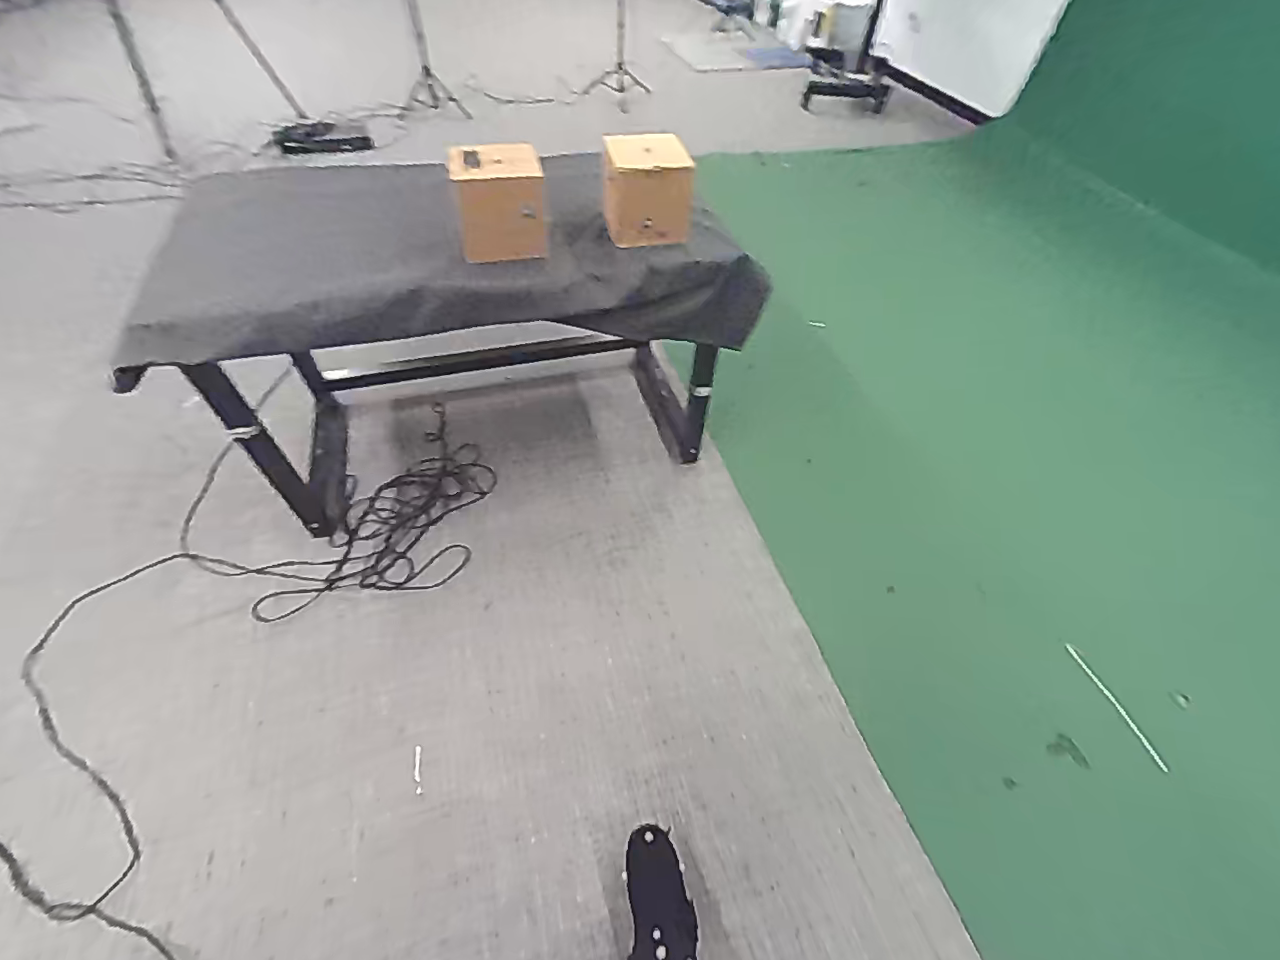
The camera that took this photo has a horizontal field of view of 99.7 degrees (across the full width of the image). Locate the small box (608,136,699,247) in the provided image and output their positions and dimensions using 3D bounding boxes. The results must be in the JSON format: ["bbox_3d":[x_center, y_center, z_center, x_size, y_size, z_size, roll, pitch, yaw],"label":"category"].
[{"bbox_3d":[0.021,-0.646,1.211,0.168,0.176,0.179,-8,52,-10],"label":"small box"}]
